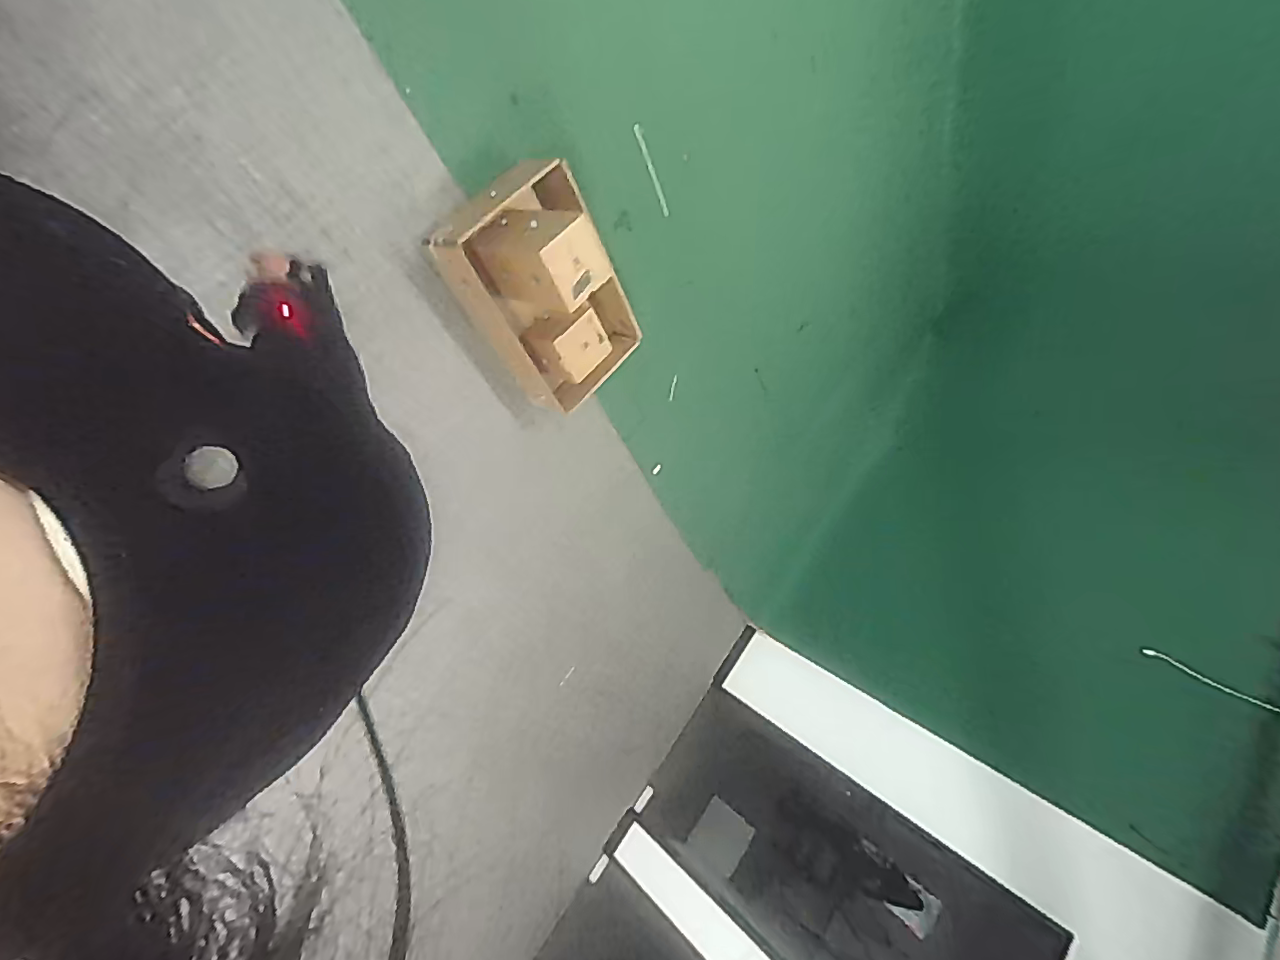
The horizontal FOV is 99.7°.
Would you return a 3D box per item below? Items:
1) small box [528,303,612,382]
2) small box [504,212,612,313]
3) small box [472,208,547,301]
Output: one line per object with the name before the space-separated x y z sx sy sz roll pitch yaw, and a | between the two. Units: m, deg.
small box | -0.225 -0.438 1.688 0.179 0.176 0.168 -47 139 -18
small box | -0.208 -0.558 1.373 0.168 0.176 0.179 -49 139 -18
small box | -0.322 -0.618 1.475 0.168 0.176 0.179 -49 141 -17
